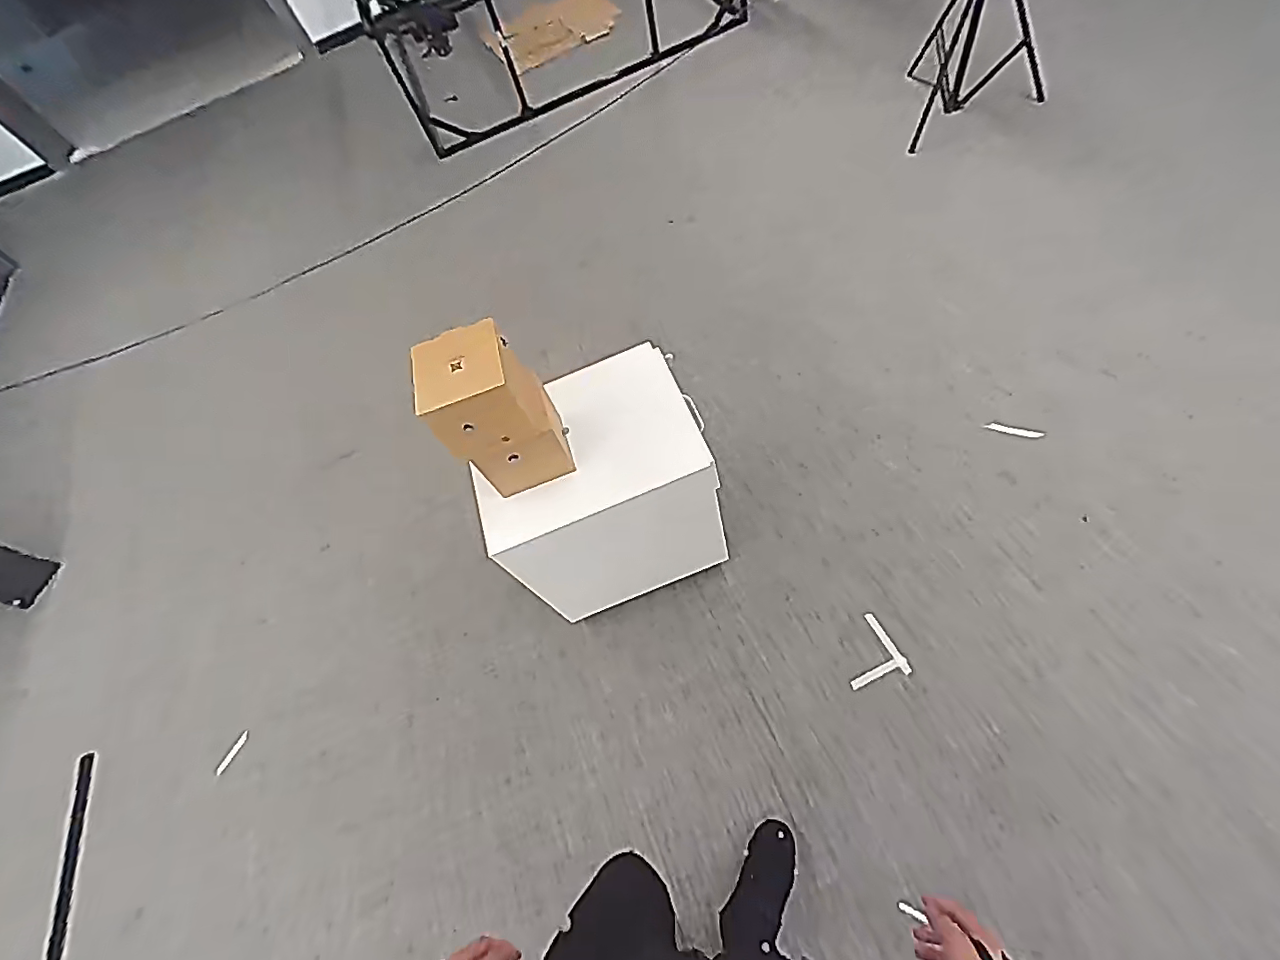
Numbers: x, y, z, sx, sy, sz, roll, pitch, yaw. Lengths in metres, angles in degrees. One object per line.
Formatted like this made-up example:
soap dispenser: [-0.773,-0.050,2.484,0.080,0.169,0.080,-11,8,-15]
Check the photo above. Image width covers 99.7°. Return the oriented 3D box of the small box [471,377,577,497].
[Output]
small box: [-0.257,-0.086,1.173,0.179,0.176,0.168,-20,58,0]

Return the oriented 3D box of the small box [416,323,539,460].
small box: [-0.306,-0.158,1.035,0.168,0.176,0.179,-19,58,2]
